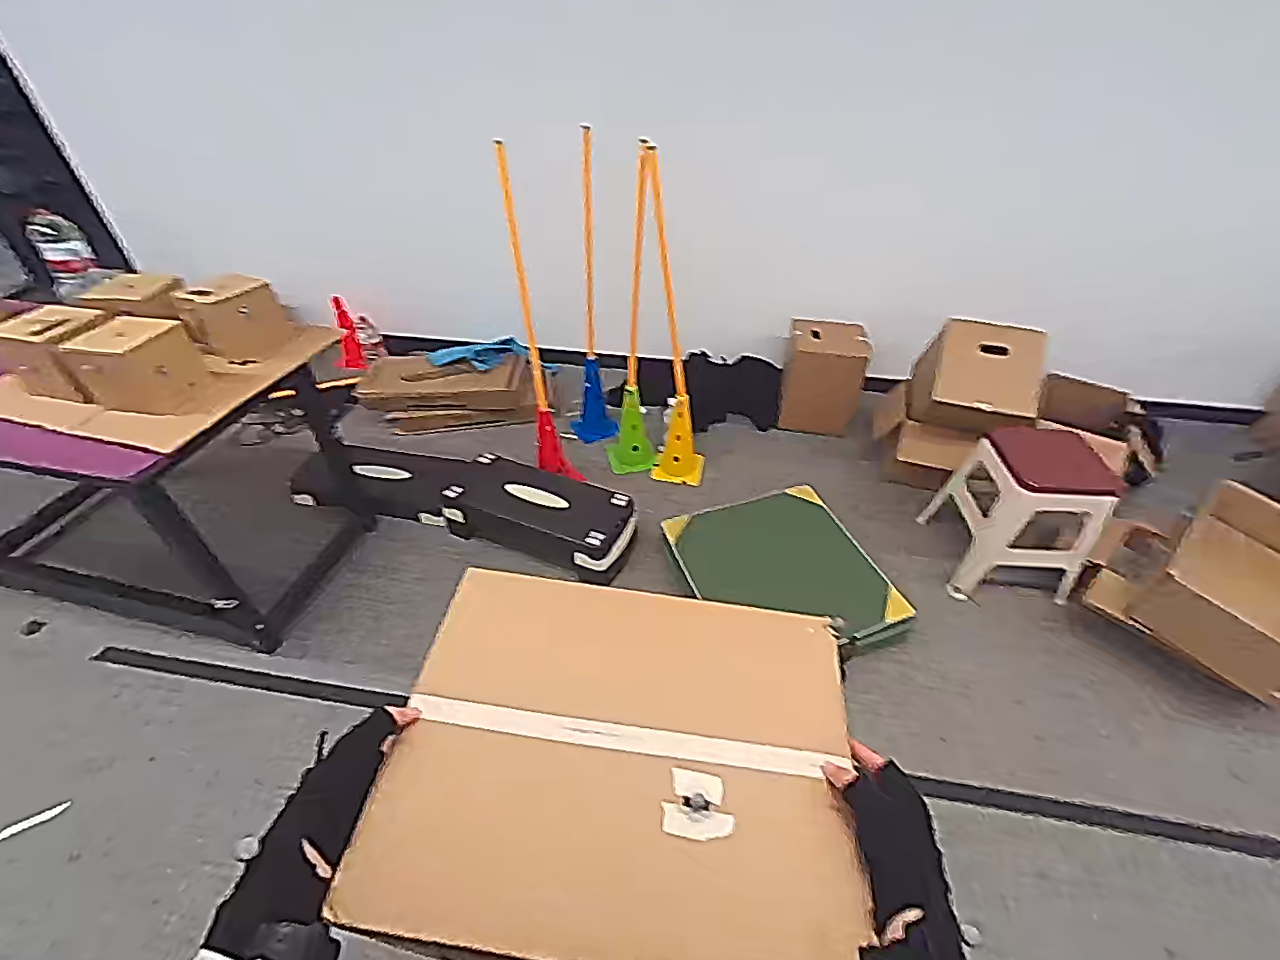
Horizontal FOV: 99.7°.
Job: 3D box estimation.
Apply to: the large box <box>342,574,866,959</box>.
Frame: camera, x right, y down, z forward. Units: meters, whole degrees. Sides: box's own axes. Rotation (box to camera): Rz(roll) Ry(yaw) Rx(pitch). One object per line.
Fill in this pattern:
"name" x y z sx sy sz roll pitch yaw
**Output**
"large box" -0.025 0.340 0.607 0.408 0.320 0.320 8 46 2
